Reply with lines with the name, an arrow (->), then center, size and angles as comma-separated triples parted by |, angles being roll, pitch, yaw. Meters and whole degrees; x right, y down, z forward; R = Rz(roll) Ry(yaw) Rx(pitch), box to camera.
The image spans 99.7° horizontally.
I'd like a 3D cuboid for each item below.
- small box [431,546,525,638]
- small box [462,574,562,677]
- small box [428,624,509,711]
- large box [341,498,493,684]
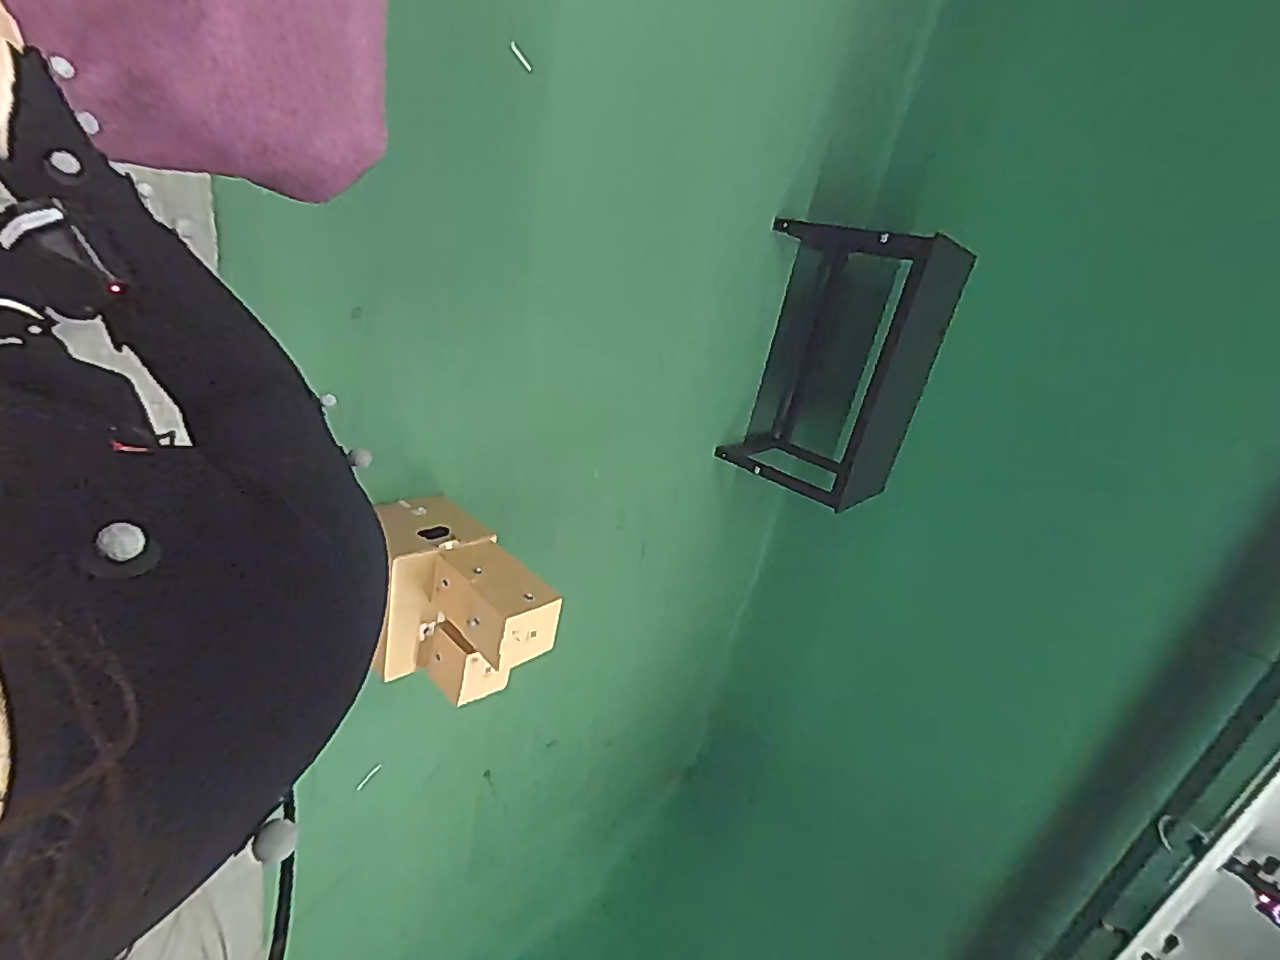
small box -> -0.447, 0.299, 1.489 | 0.179, 0.176, 0.168 | -10, 120, -48
small box -> -0.331, 0.365, 1.393 | 0.179, 0.176, 0.168 | -11, 121, -47
small box -> -0.494, 0.528, 1.575 | 0.168, 0.176, 0.179 | -3, 114, -51
large box -> -0.678, 0.311, 1.627 | 0.320, 0.320, 0.408 | -9, 120, -47
